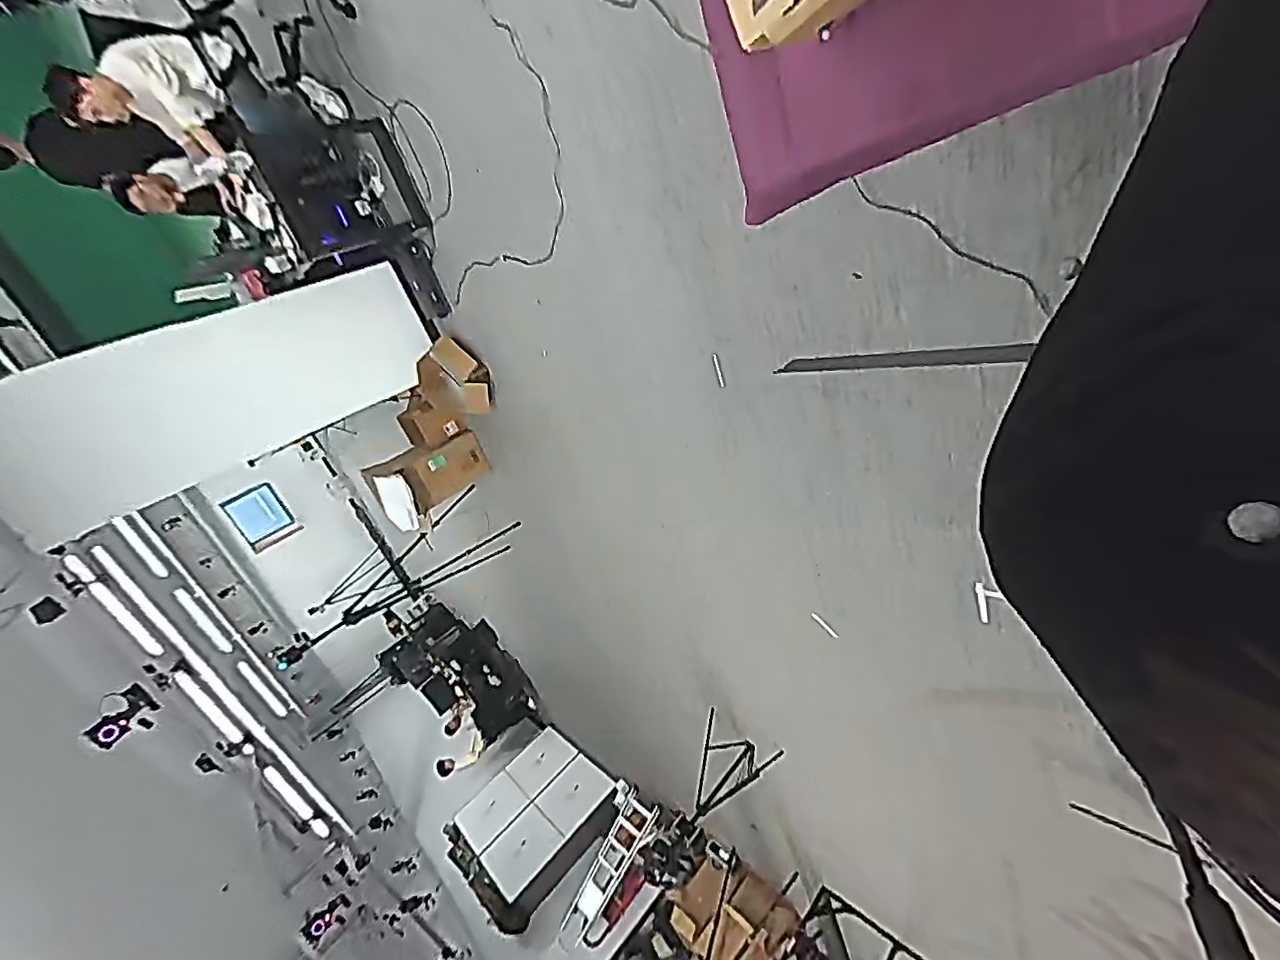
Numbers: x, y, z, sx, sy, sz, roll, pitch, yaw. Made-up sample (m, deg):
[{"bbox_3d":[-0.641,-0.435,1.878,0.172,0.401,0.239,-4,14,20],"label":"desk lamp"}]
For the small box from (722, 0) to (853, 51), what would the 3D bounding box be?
[{"bbox_3d":[0.191,-0.641,0.615,0.168,0.176,0.179,-4,116,53],"label":"small box"}]
